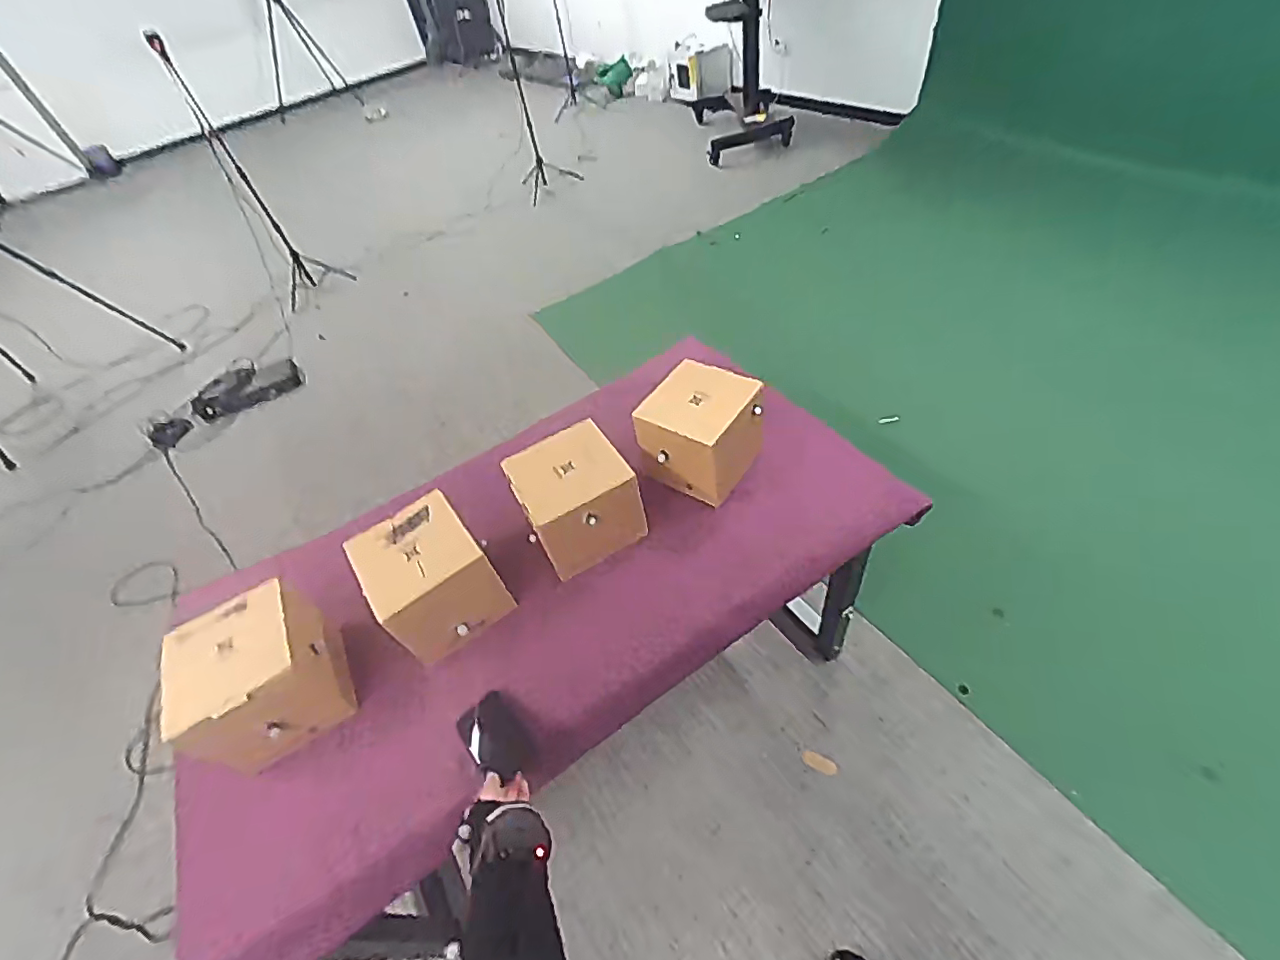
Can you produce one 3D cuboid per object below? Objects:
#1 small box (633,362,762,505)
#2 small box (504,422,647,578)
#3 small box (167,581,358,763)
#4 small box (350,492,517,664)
[{"bbox_3d":[0.114,-0.084,0.995,0.168,0.176,0.179,24,57,30],"label":"small box"},{"bbox_3d":[-0.105,0.038,0.934,0.179,0.176,0.168,-28,50,-13],"label":"small box"},{"bbox_3d":[-0.550,0.291,0.803,0.168,0.176,0.179,-29,50,-15],"label":"small box"},{"bbox_3d":[-0.327,0.159,0.872,0.168,0.176,0.179,-34,52,-17],"label":"small box"}]
